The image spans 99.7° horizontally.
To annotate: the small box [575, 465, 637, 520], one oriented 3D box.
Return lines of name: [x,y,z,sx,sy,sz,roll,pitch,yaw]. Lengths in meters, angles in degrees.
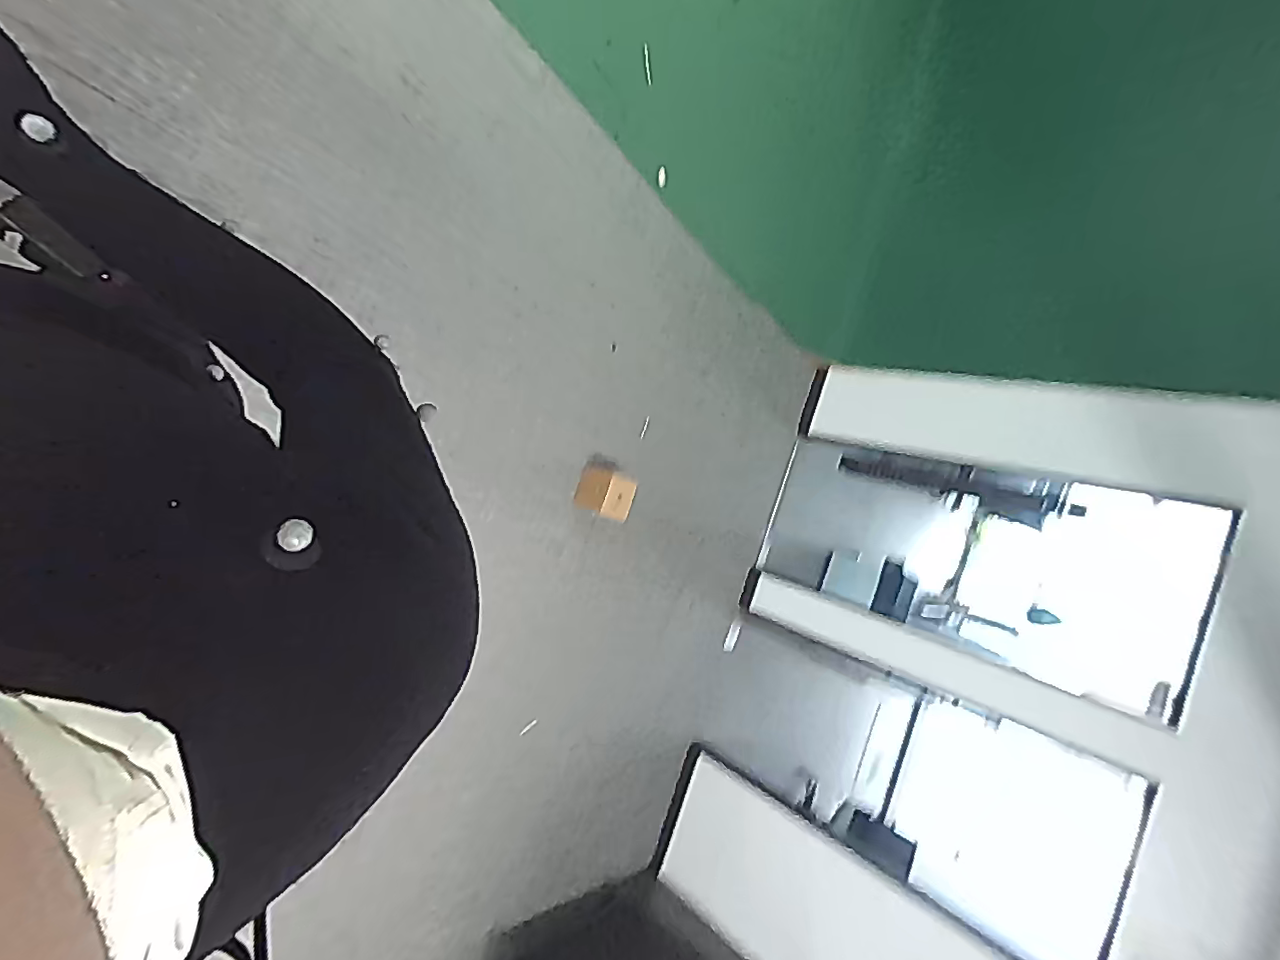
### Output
small box: [-0.145,0.048,2.260,0.168,0.176,0.179,22,86,-49]
